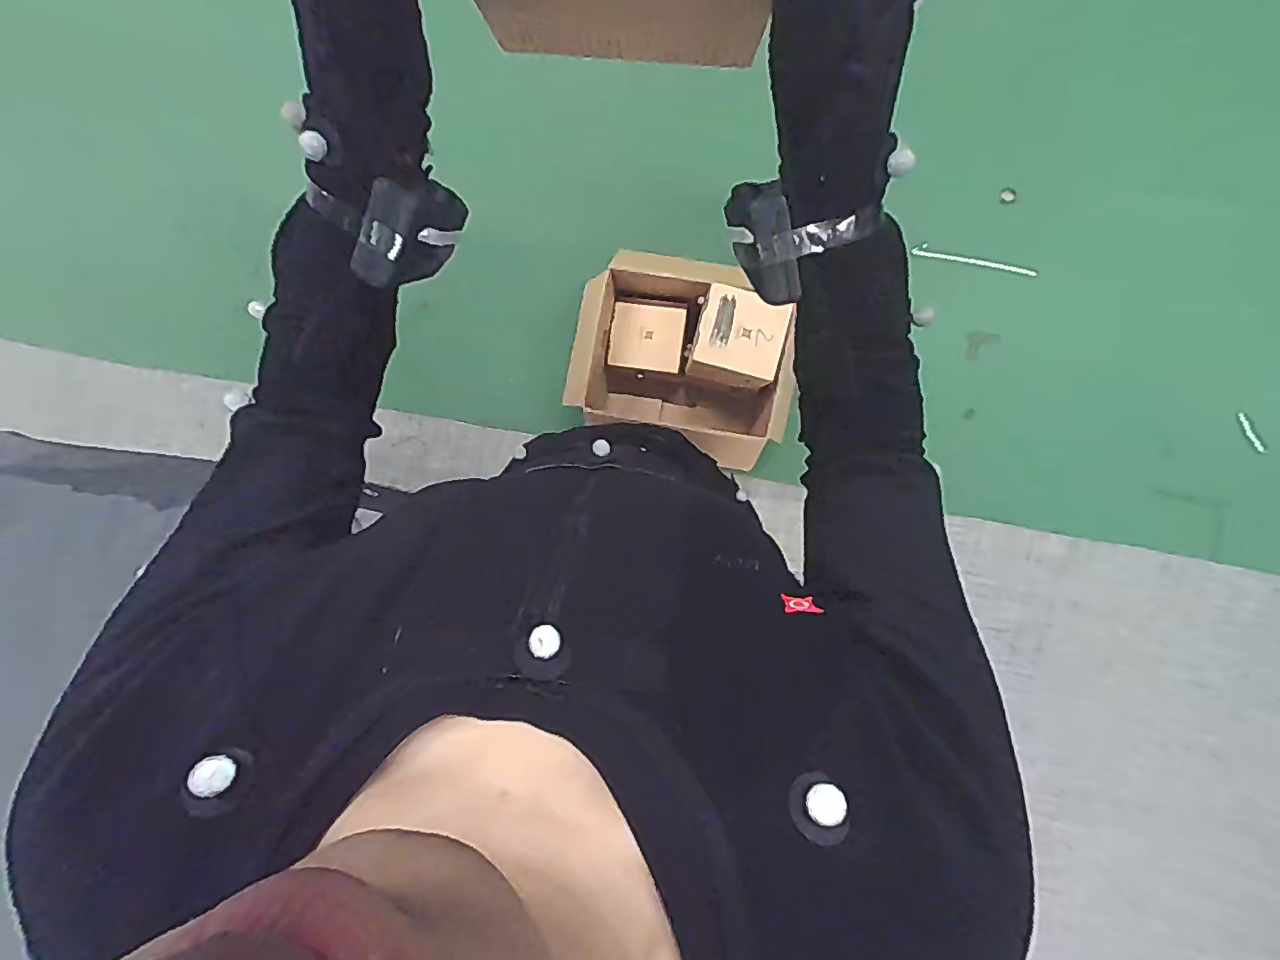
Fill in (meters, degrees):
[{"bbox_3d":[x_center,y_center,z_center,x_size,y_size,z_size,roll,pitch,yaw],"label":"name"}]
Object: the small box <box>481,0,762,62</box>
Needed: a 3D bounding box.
[{"bbox_3d":[-0.009,-0.344,0.271,0.179,0.176,0.168,5,107,0],"label":"small box"}]
